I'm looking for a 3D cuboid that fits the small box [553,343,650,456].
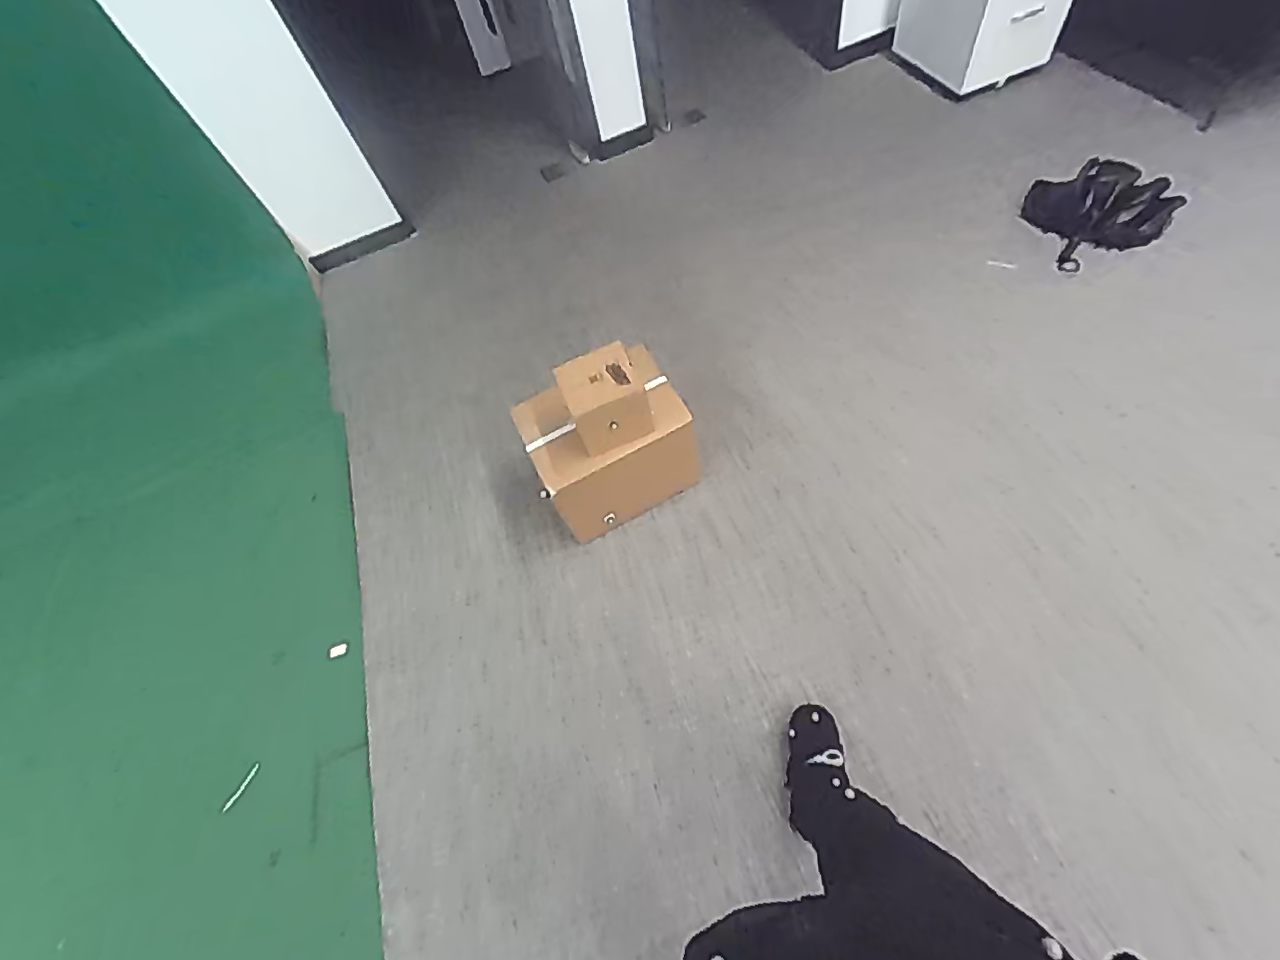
[{"bbox_3d":[-0.084,-0.188,1.297,0.179,0.176,0.168,-23,59,-2],"label":"small box"}]
